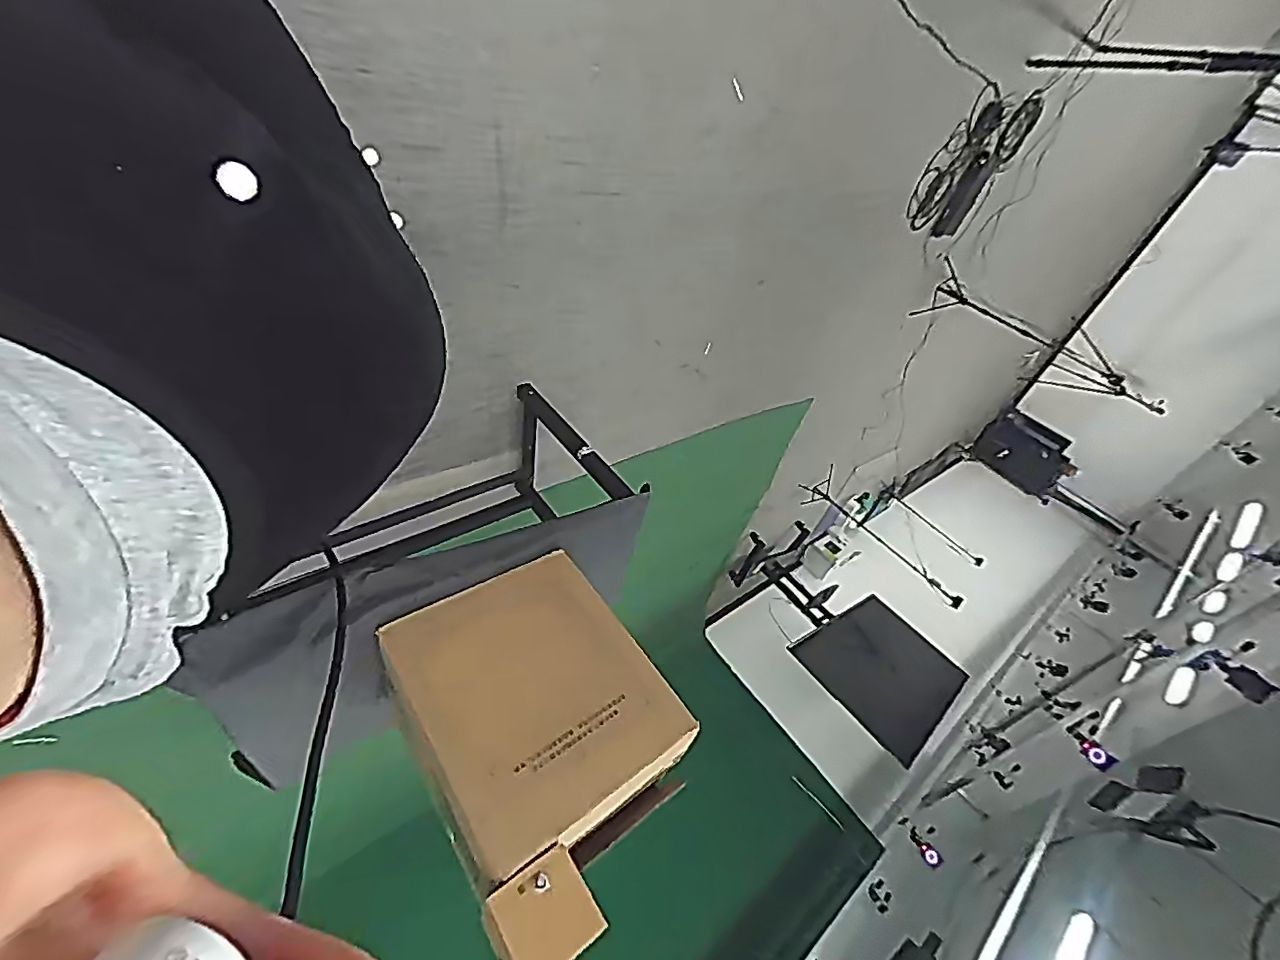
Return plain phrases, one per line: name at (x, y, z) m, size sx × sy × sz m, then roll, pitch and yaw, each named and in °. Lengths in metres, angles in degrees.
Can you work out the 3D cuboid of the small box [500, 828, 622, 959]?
small box at (-0.161, 0.828, 1.062) m, size 0.168 × 0.176 × 0.179 m, roll -22°, pitch 143°, yaw -35°
